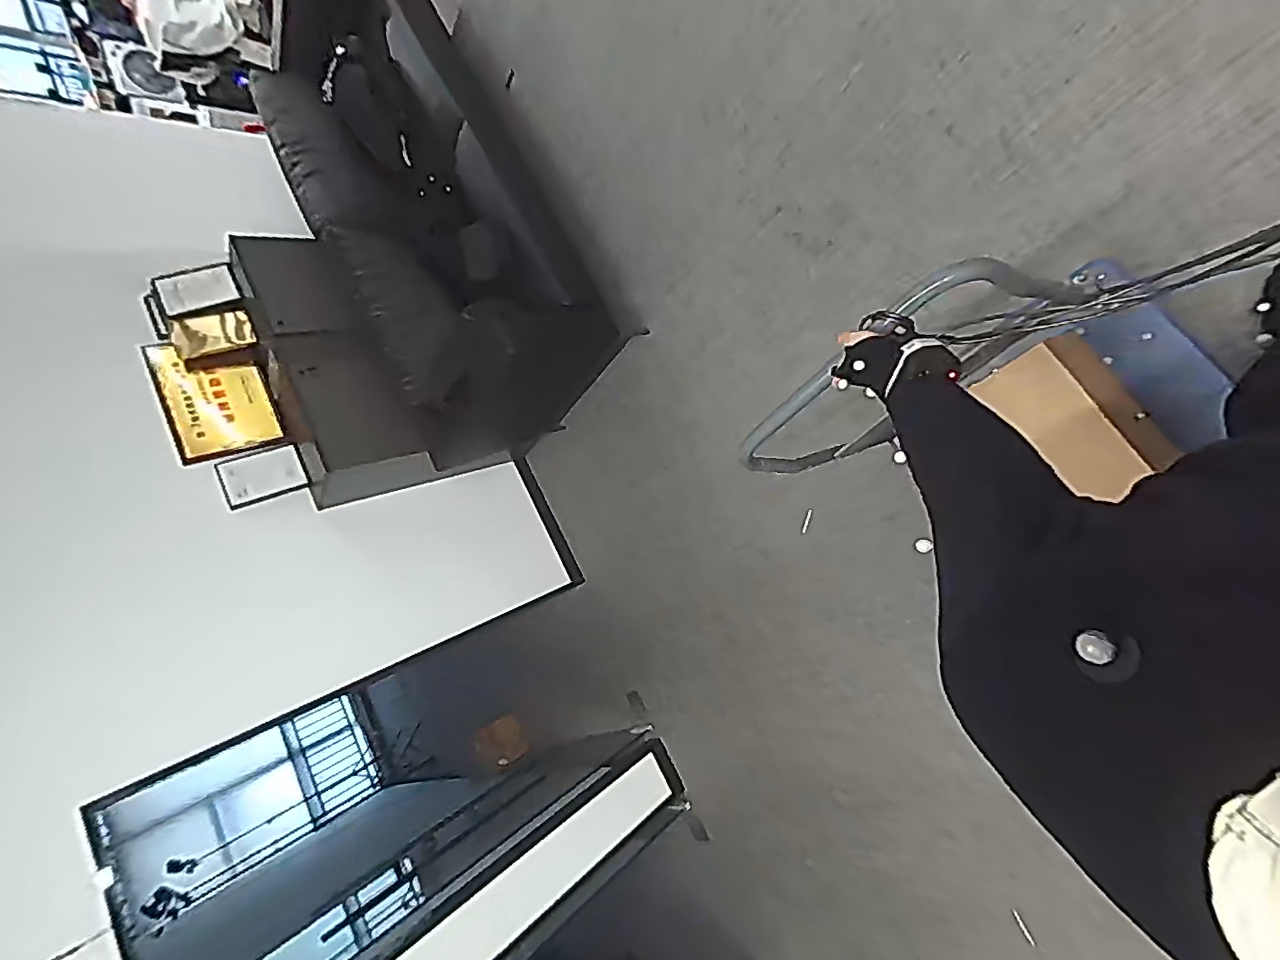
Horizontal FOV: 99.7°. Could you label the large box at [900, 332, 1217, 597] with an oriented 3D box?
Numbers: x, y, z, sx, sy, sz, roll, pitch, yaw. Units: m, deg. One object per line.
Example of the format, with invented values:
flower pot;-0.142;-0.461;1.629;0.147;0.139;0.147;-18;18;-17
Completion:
large box;0.827;-0.043;1.096;0.320;0.320;0.408;-45;71;45
